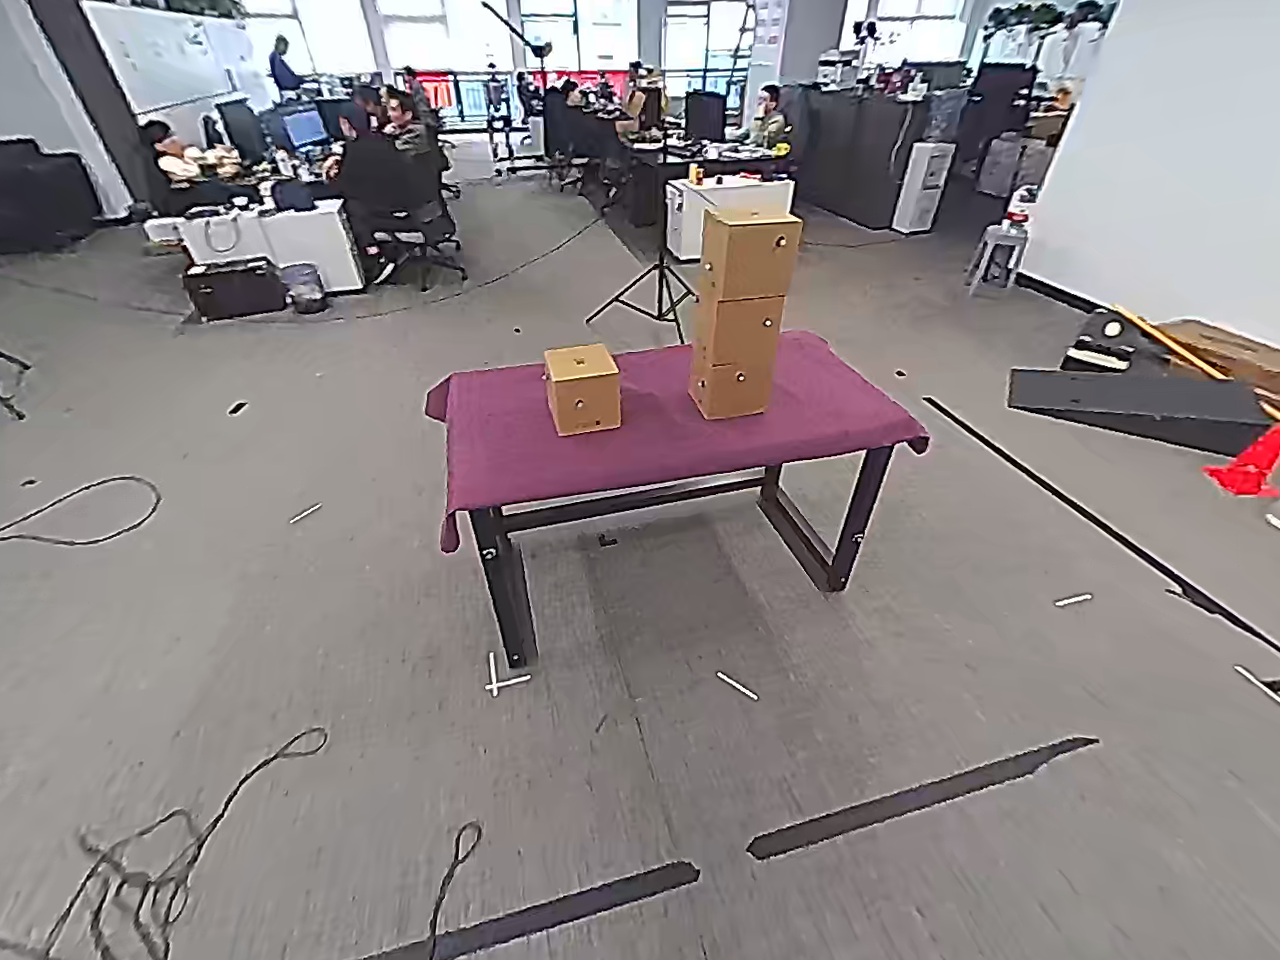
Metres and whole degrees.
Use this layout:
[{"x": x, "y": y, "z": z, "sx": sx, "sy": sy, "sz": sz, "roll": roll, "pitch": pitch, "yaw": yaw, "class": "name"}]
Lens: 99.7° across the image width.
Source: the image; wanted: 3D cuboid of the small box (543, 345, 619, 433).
[{"x": -0.156, "y": -0.236, "z": 1.436, "sx": 0.168, "sy": 0.176, "sz": 0.179, "roll": -11, "pitch": 39, "yaw": -13, "class": "small box"}]

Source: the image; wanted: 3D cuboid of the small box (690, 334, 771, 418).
[{"x": 0.241, "y": -0.285, "z": 1.492, "sx": 0.179, "sy": 0.176, "sz": 0.168, "roll": -9, "pitch": 40, "yaw": -11, "class": "small box"}]

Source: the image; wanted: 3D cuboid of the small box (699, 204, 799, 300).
[{"x": 0.249, "y": -0.541, "z": 1.284, "sx": 0.179, "sy": 0.176, "sz": 0.168, "roll": -10, "pitch": 39, "yaw": -10, "class": "small box"}]
